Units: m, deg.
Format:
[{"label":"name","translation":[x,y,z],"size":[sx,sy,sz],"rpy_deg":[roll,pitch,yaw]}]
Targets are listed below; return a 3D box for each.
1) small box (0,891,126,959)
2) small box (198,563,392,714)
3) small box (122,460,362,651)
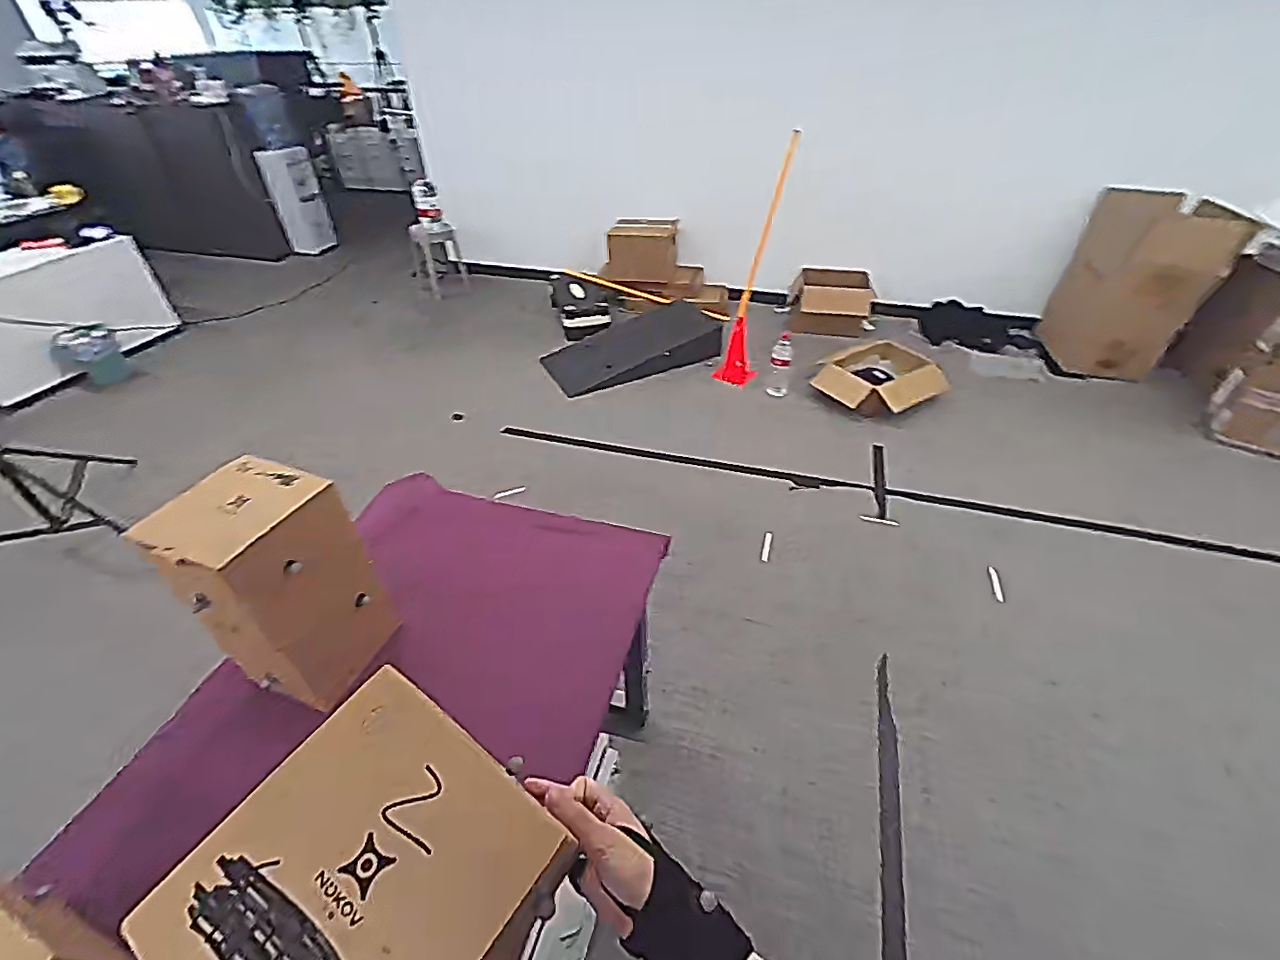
[{"label":"small box","translation":[-0.633,0.520,0.505],"size":[0.179,0.176,0.168],"rpy_deg":[16,44,16]},{"label":"small box","translation":[-0.520,0.229,0.851],"size":[0.168,0.176,0.179],"rpy_deg":[13,42,15]},{"label":"small box","translation":[-0.523,0.104,0.745],"size":[0.168,0.176,0.179],"rpy_deg":[14,43,16]}]
